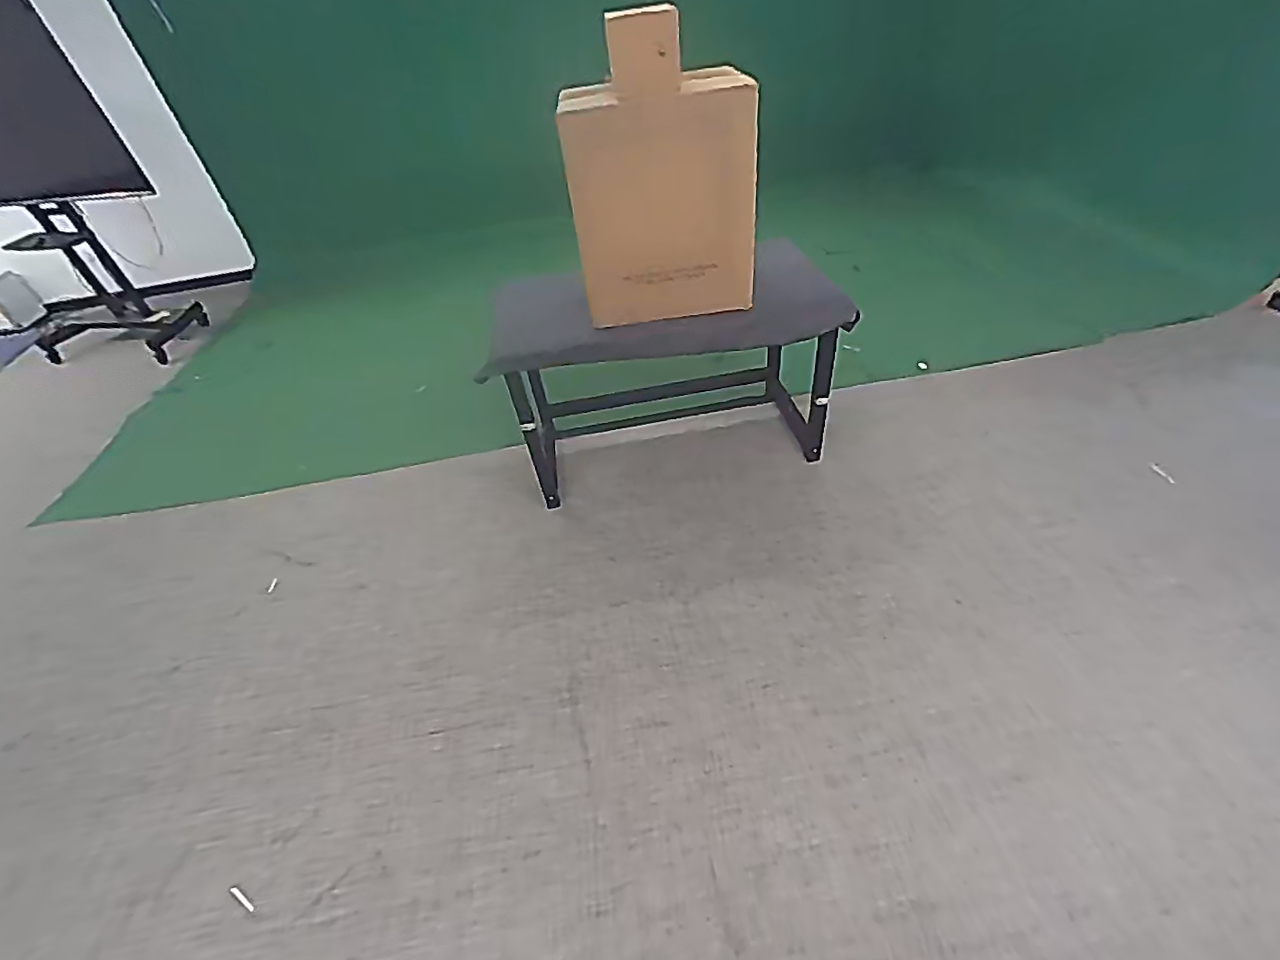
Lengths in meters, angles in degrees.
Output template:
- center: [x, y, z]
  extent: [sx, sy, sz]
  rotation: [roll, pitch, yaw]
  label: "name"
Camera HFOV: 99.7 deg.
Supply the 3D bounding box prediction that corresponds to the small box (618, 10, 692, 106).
- center: [0.042, -1.117, 1.431]
  extent: [0.179, 0.176, 0.168]
  rotation: [-9, 44, 2]
  label: "small box"
